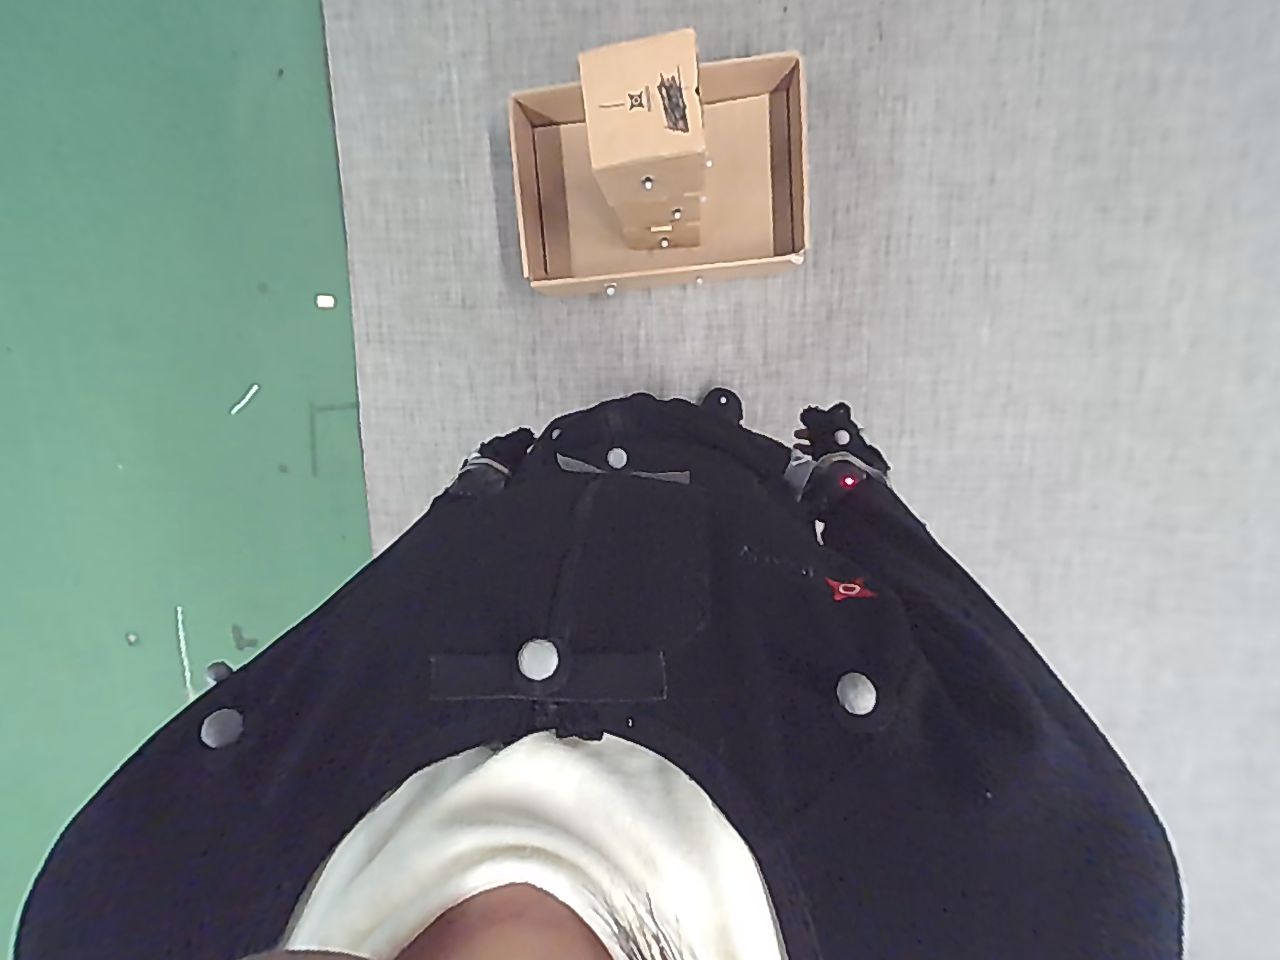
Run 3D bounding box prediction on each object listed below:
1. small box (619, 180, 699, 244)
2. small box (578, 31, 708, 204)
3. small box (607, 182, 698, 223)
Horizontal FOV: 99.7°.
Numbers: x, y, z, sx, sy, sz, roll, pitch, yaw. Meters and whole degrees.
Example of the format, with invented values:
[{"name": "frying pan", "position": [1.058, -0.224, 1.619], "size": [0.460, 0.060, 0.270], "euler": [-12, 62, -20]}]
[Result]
[{"name": "small box", "position": [0.046, -0.634, 1.201], "size": [0.168, 0.176, 0.179], "euler": [0, 99, 7]}, {"name": "small box", "position": [0.010, -0.576, 0.883], "size": [0.179, 0.176, 0.168], "euler": [-8, 99, 7]}, {"name": "small box", "position": [0.027, -0.610, 1.042], "size": [0.168, 0.176, 0.179], "euler": [-1, 98, 6]}]
